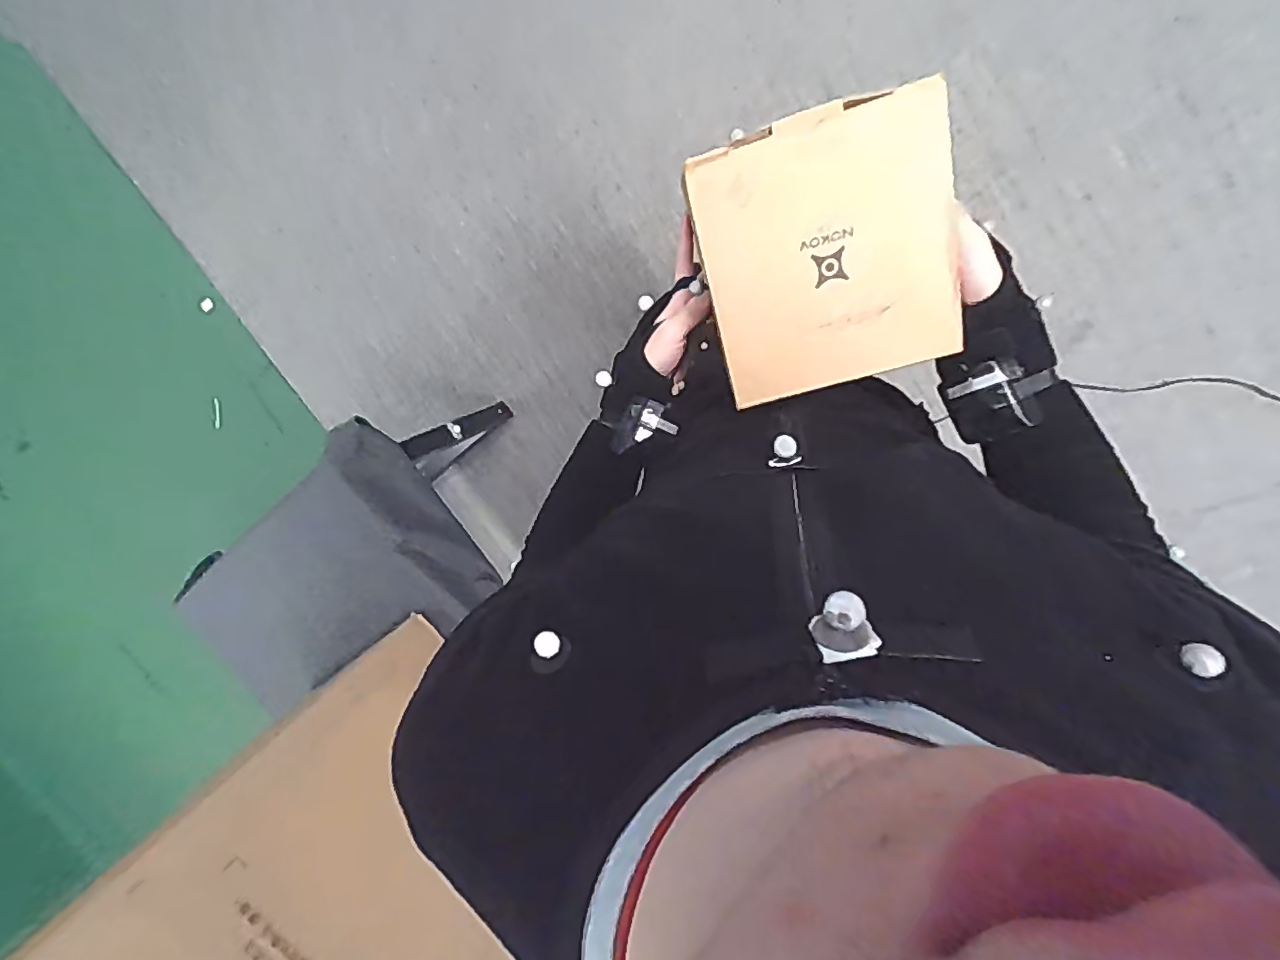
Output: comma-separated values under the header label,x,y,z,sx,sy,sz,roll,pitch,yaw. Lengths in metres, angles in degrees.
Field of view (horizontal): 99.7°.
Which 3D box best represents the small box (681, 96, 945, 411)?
label,x,y,z,sx,sy,sz,roll,pitch,yaw
small box,0.131,-0.179,0.451,0.168,0.176,0.179,-12,114,9
